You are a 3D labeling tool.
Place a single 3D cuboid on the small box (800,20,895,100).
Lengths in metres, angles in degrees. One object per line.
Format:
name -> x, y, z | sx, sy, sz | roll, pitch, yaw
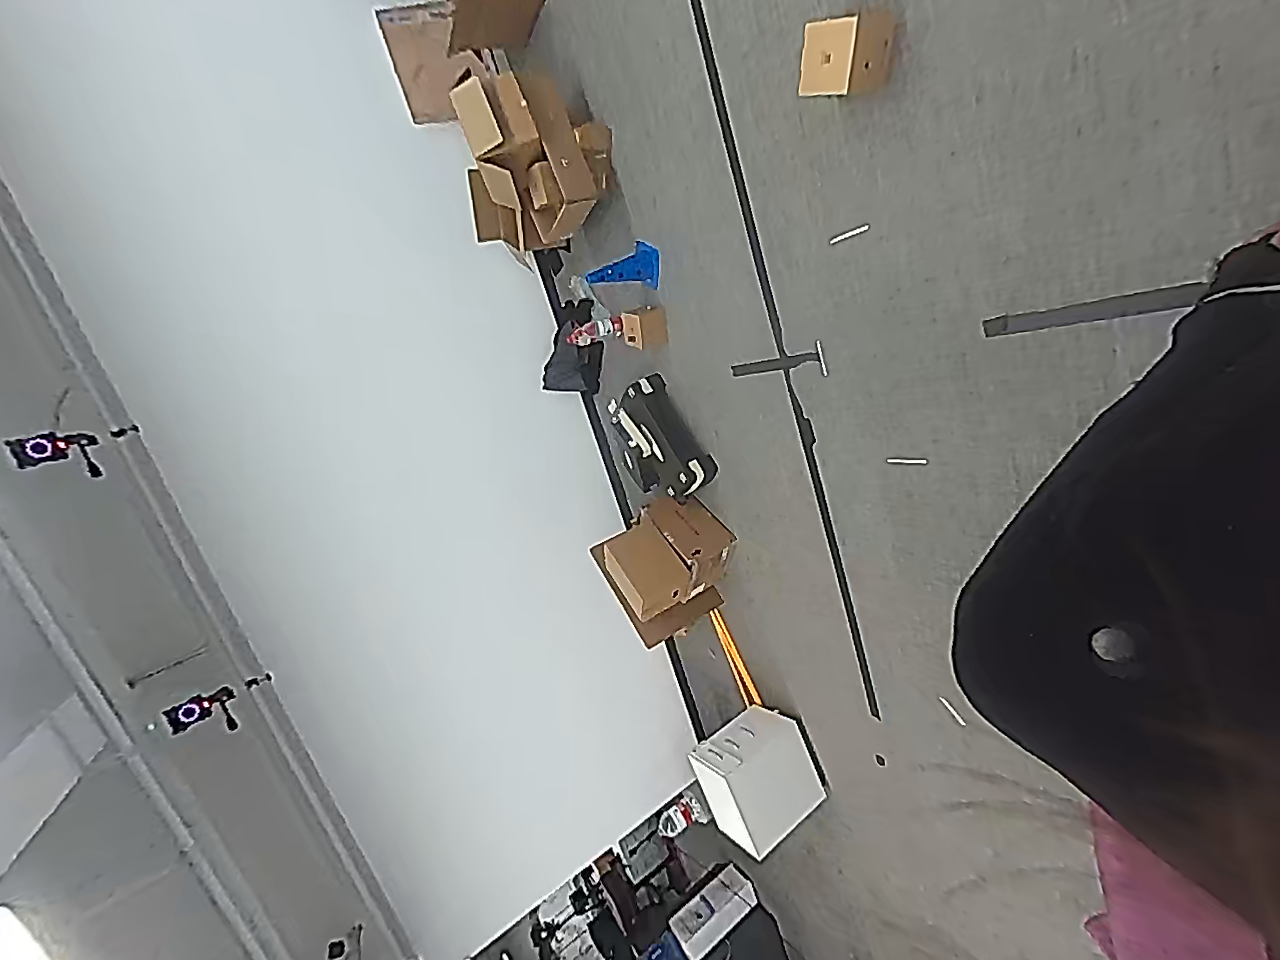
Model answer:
small box -> 0.577, -1.170, 1.508 | 0.179, 0.176, 0.168 | 39, 143, 44
